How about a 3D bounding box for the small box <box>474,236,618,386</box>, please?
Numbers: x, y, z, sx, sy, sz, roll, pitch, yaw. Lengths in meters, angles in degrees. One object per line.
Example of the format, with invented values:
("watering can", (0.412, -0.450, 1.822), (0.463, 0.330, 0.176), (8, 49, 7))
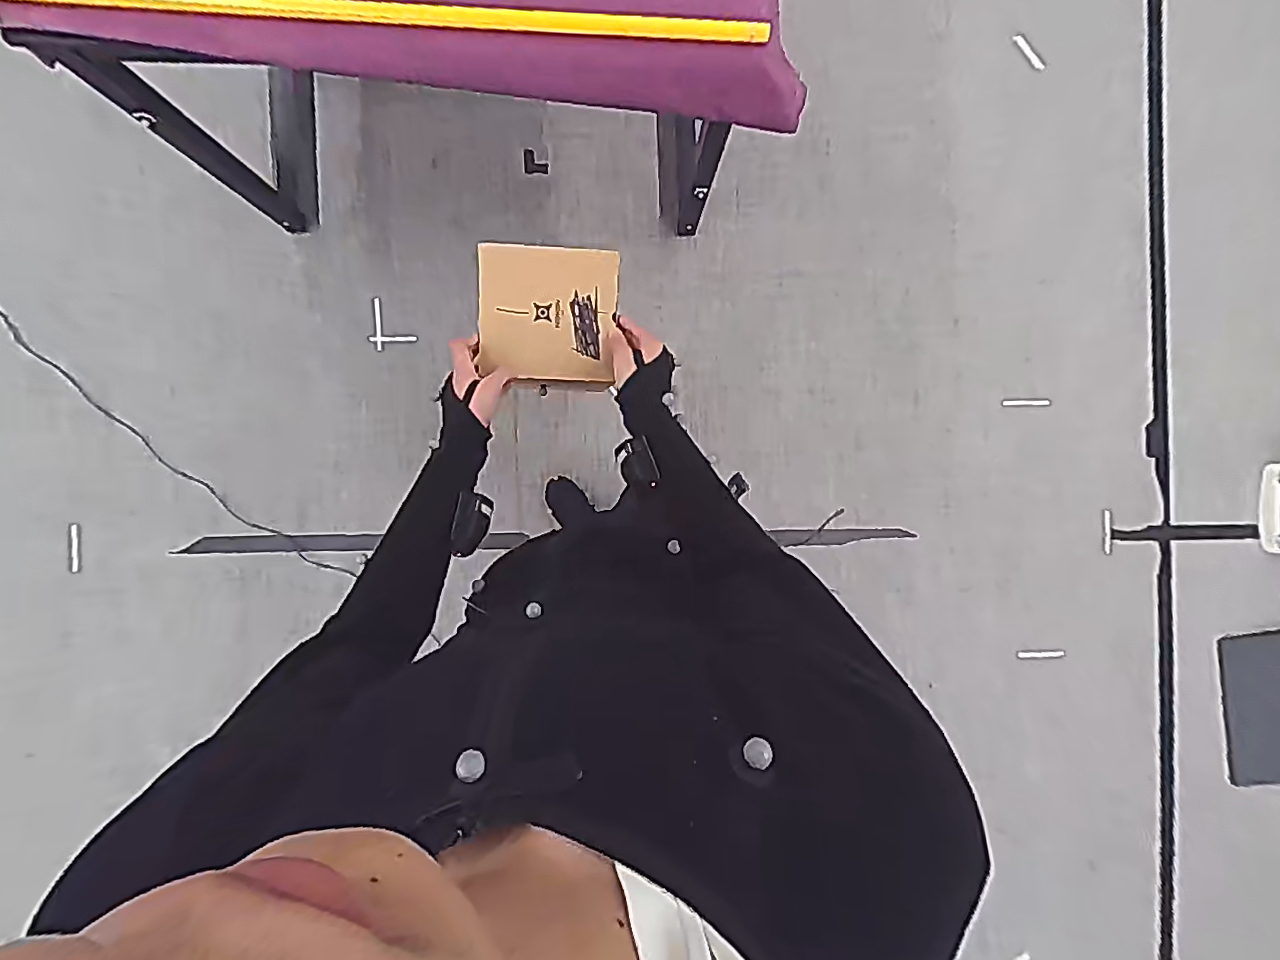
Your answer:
("small box", (-0.131, -0.223, 0.761), (0.179, 0.176, 0.168), (2, 95, -9))
